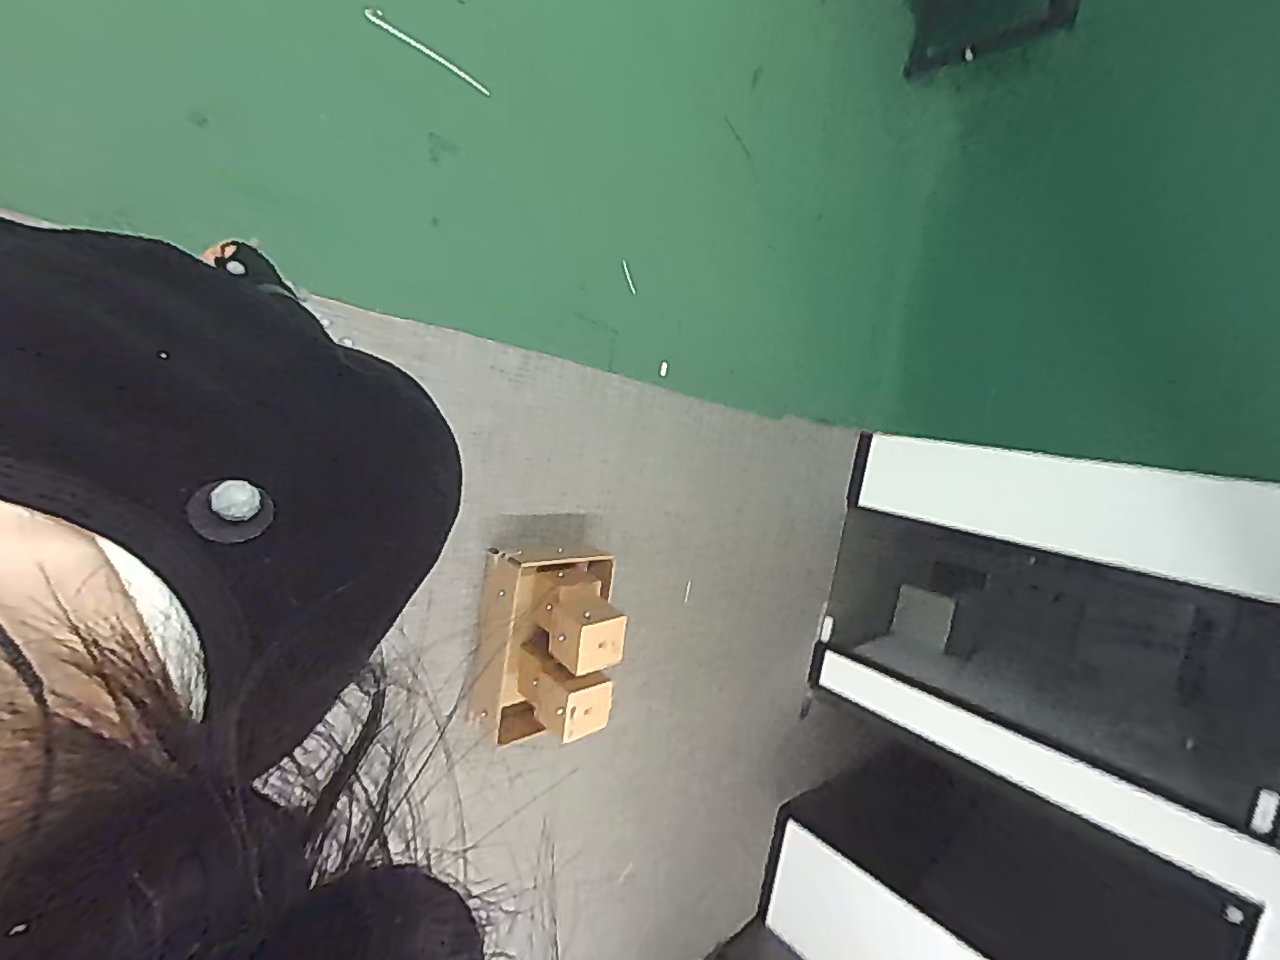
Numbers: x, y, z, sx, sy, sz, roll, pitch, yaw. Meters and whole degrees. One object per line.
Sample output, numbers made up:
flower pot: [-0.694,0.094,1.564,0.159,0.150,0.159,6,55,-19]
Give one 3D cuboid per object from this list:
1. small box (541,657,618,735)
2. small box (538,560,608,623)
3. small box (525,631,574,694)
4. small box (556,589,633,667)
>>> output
small box: [-0.196,0.679,1.742,0.179,0.176,0.168,0,101,-42]
small box: [-0.234,0.381,1.847,0.168,0.176,0.179,-1,105,-41]
small box: [-0.285,0.638,1.876,0.168,0.176,0.179,-6,105,-41]
small box: [-0.150,0.465,1.724,0.179,0.176,0.168,-3,107,-40]
